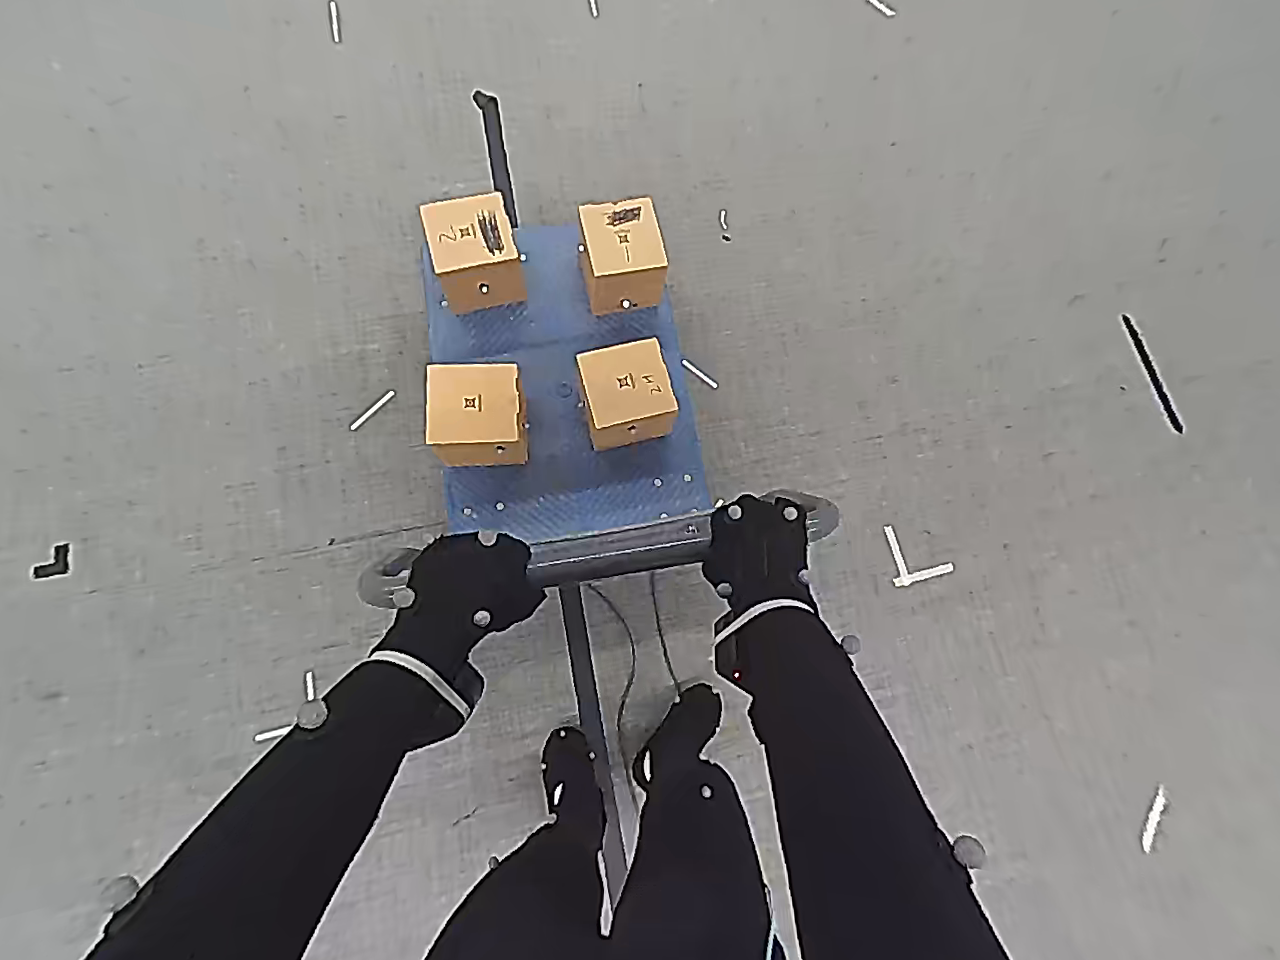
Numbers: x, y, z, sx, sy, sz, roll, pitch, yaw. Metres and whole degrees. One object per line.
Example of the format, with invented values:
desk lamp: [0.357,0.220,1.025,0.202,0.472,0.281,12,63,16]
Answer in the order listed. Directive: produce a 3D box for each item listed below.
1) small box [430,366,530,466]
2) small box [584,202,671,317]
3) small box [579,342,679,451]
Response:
small box: [-0.328,-0.128,1.137,0.179,0.176,0.168,-2,77,-8]
small box: [-0.036,-0.504,1.252,0.168,0.176,0.179,-11,80,-8]
small box: [-0.028,-0.175,1.178,0.179,0.176,0.168,-13,79,-9]
